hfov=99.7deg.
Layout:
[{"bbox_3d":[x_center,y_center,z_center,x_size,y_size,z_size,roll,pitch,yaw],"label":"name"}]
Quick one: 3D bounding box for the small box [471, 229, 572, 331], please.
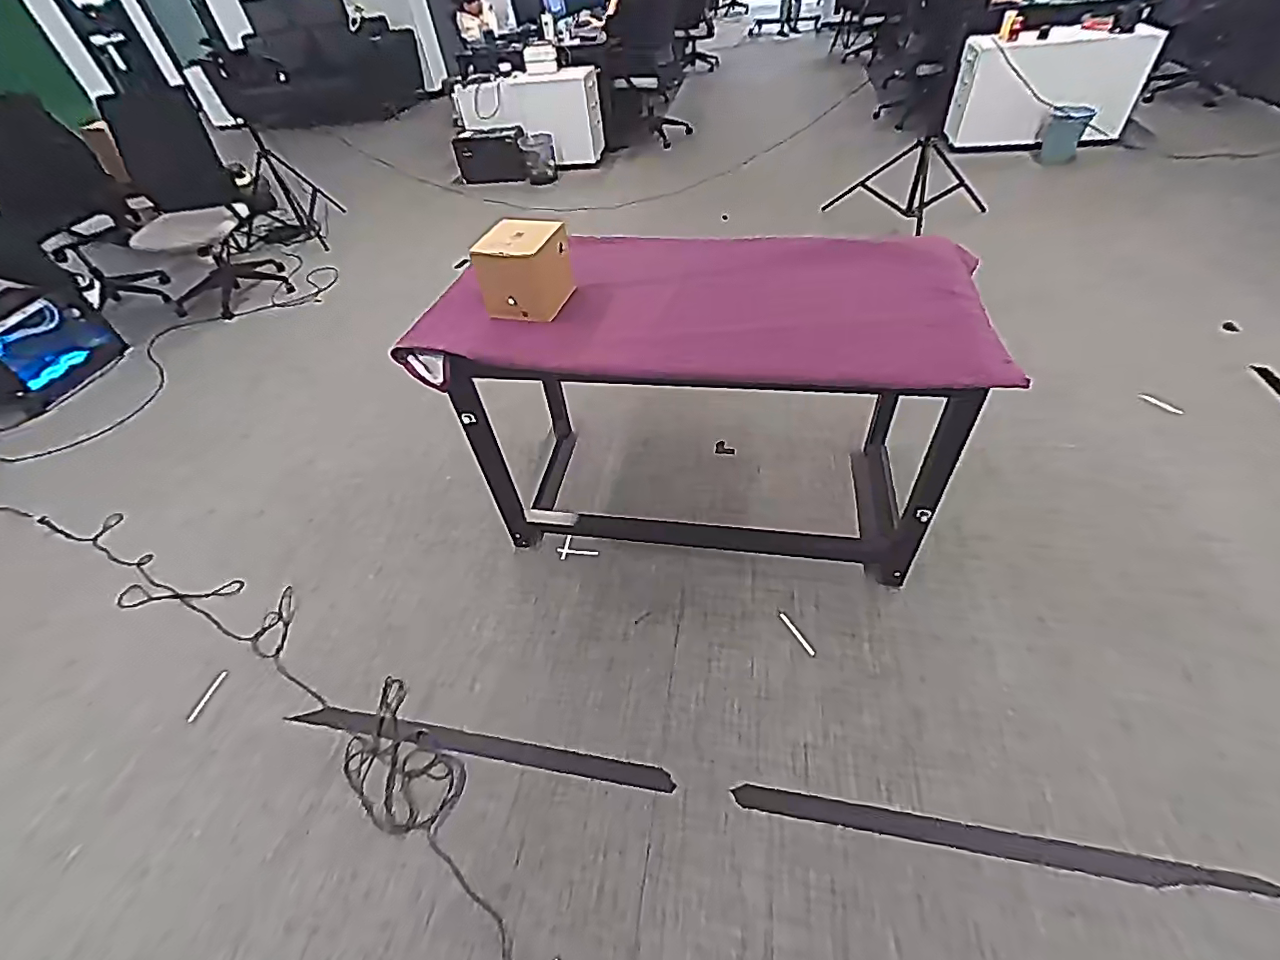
[{"bbox_3d":[-0.276,-0.485,1.310,0.168,0.176,0.179,9,49,16],"label":"small box"}]
